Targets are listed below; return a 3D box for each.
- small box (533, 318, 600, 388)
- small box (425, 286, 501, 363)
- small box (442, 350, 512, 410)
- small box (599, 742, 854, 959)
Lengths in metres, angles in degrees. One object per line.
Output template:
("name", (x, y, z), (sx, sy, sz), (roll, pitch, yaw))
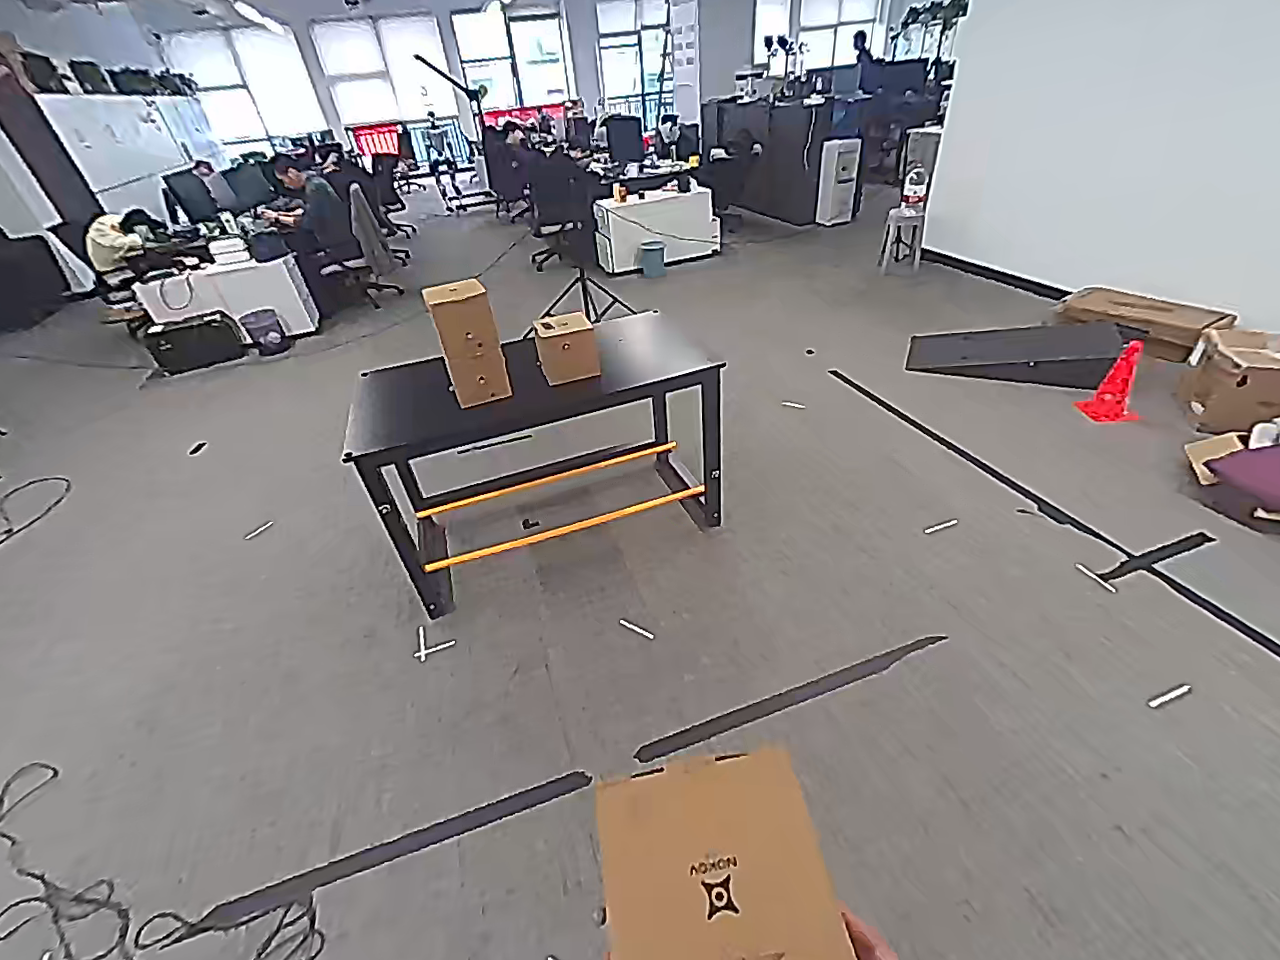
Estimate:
("small box", (-0.247, -0.427, 1.822), (0.179, 0.176, 0.168), (-15, 37, -13))
("small box", (-0.543, -0.478, 1.660), (0.168, 0.176, 0.179), (-20, 38, -17))
("small box", (-0.526, -0.343, 1.755), (0.168, 0.176, 0.179), (-19, 39, -16))
("small box", (0.060, 0.353, 0.456), (0.168, 0.176, 0.179), (-9, 46, -5))
